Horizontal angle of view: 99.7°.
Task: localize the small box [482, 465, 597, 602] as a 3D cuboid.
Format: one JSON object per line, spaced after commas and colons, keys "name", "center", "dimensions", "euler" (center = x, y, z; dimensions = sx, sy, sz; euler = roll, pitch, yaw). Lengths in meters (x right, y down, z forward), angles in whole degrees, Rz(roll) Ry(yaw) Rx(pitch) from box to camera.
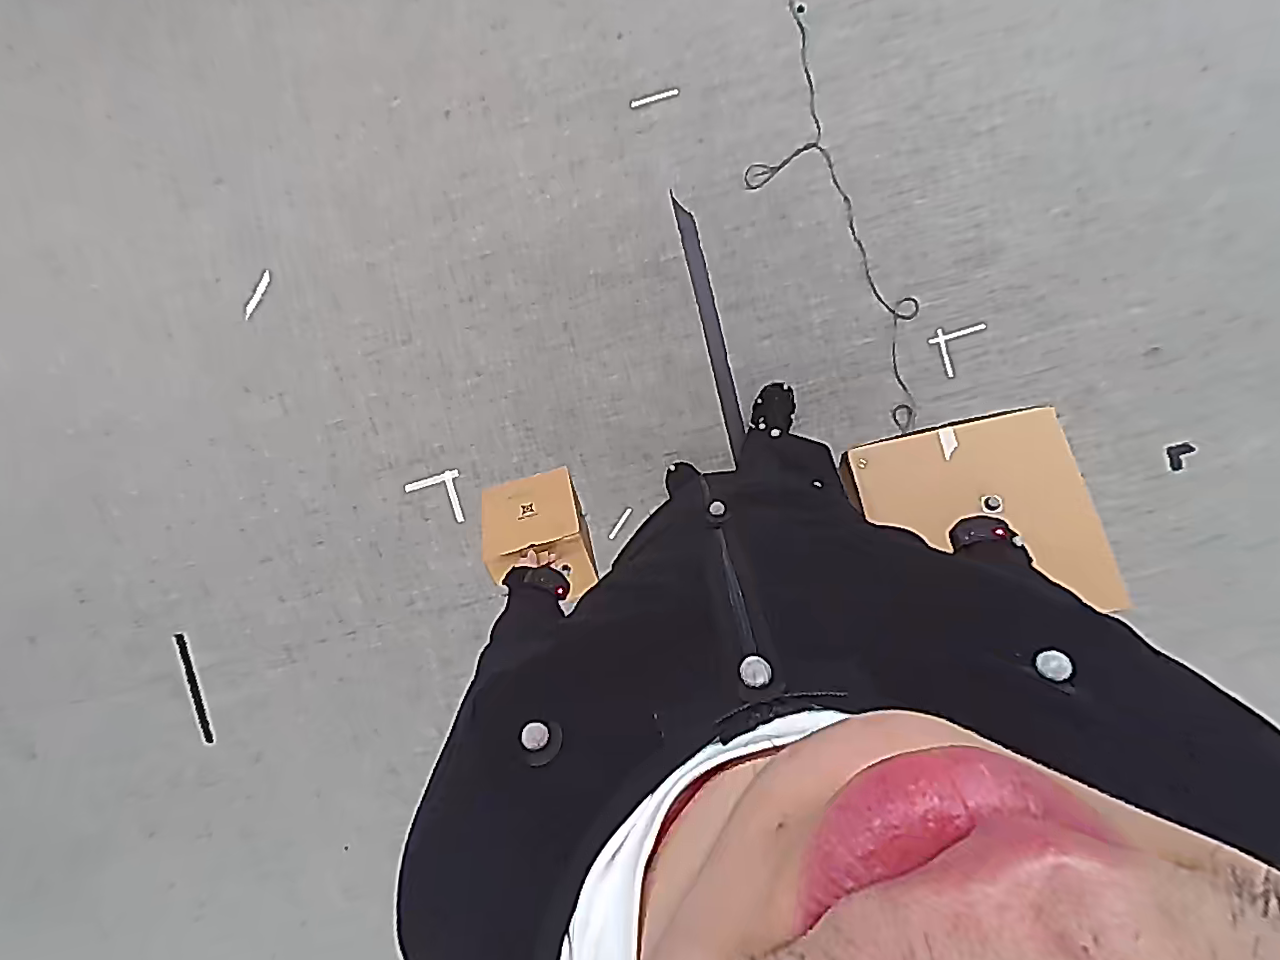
{"name": "small box", "center": [-0.185, 0.106, 1.007], "dimensions": [0.168, 0.179, 0.176], "euler": [-15, 134, -4]}
